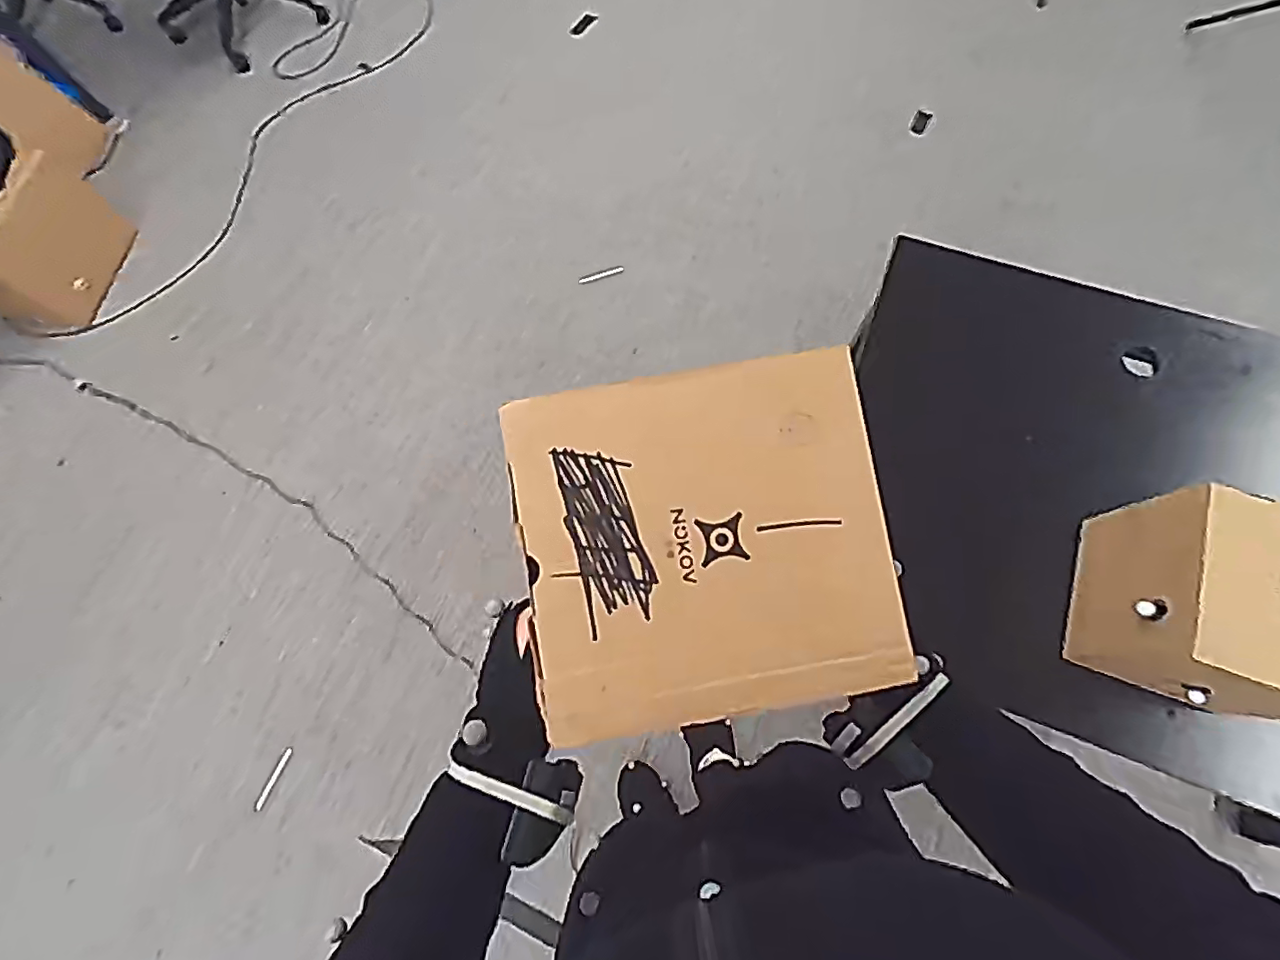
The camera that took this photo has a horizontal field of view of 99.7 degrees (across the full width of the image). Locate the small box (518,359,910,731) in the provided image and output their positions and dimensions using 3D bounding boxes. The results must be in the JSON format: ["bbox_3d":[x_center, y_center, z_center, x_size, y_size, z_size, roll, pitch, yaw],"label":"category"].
[{"bbox_3d":[0.035,0.037,0.348,0.179,0.176,0.168,-9,85,-1],"label":"small box"}]

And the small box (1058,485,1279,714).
[{"bbox_3d":[0.583,0.132,0.564,0.168,0.176,0.179,19,74,9],"label":"small box"}]
